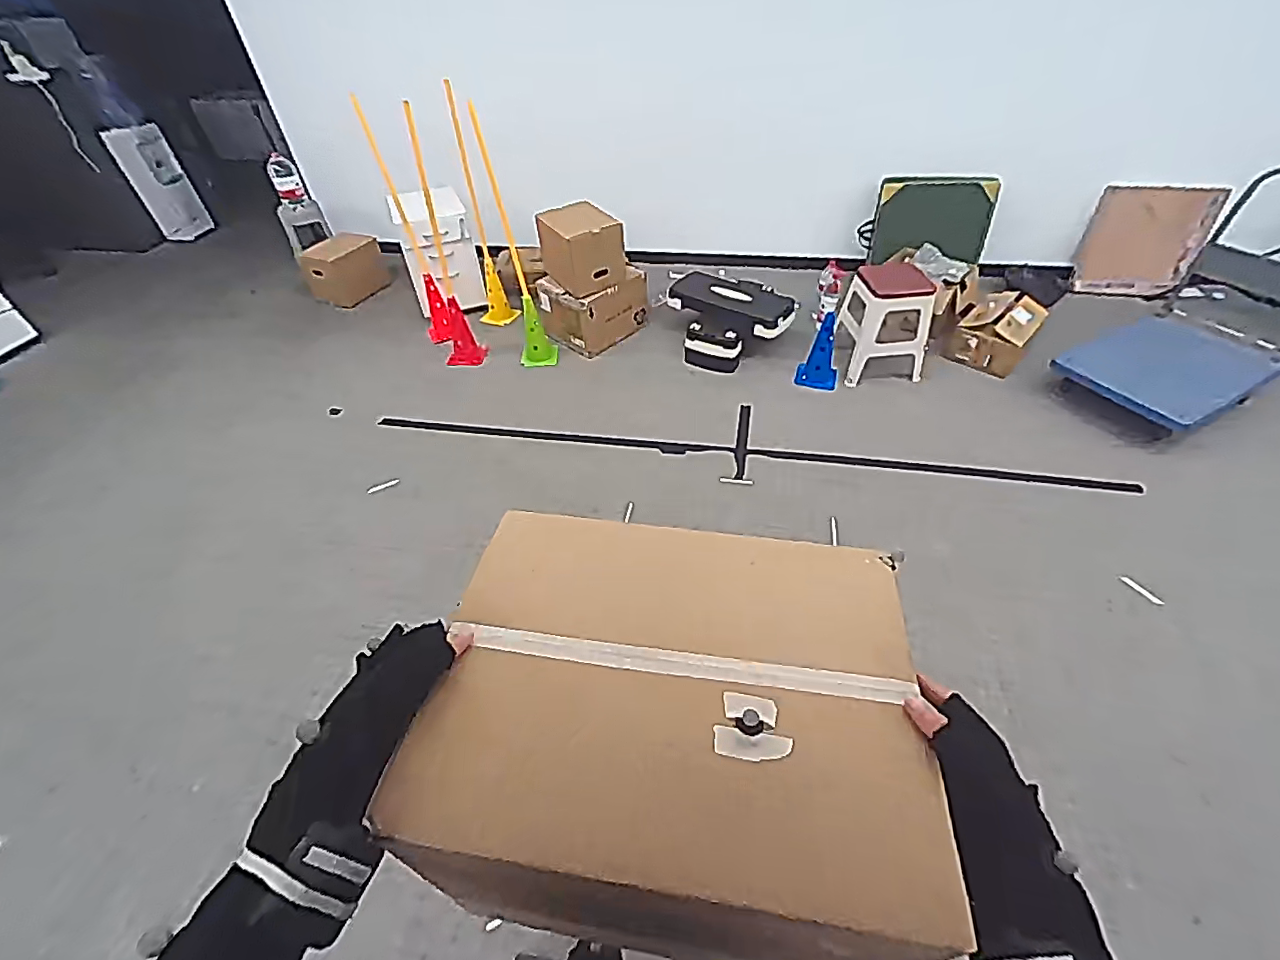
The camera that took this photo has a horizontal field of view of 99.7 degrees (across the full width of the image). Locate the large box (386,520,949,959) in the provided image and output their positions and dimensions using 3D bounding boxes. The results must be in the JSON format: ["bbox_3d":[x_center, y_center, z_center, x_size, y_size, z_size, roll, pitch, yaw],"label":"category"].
[{"bbox_3d":[0.029,0.274,0.580,0.408,0.320,0.320,6,44,7],"label":"large box"}]
